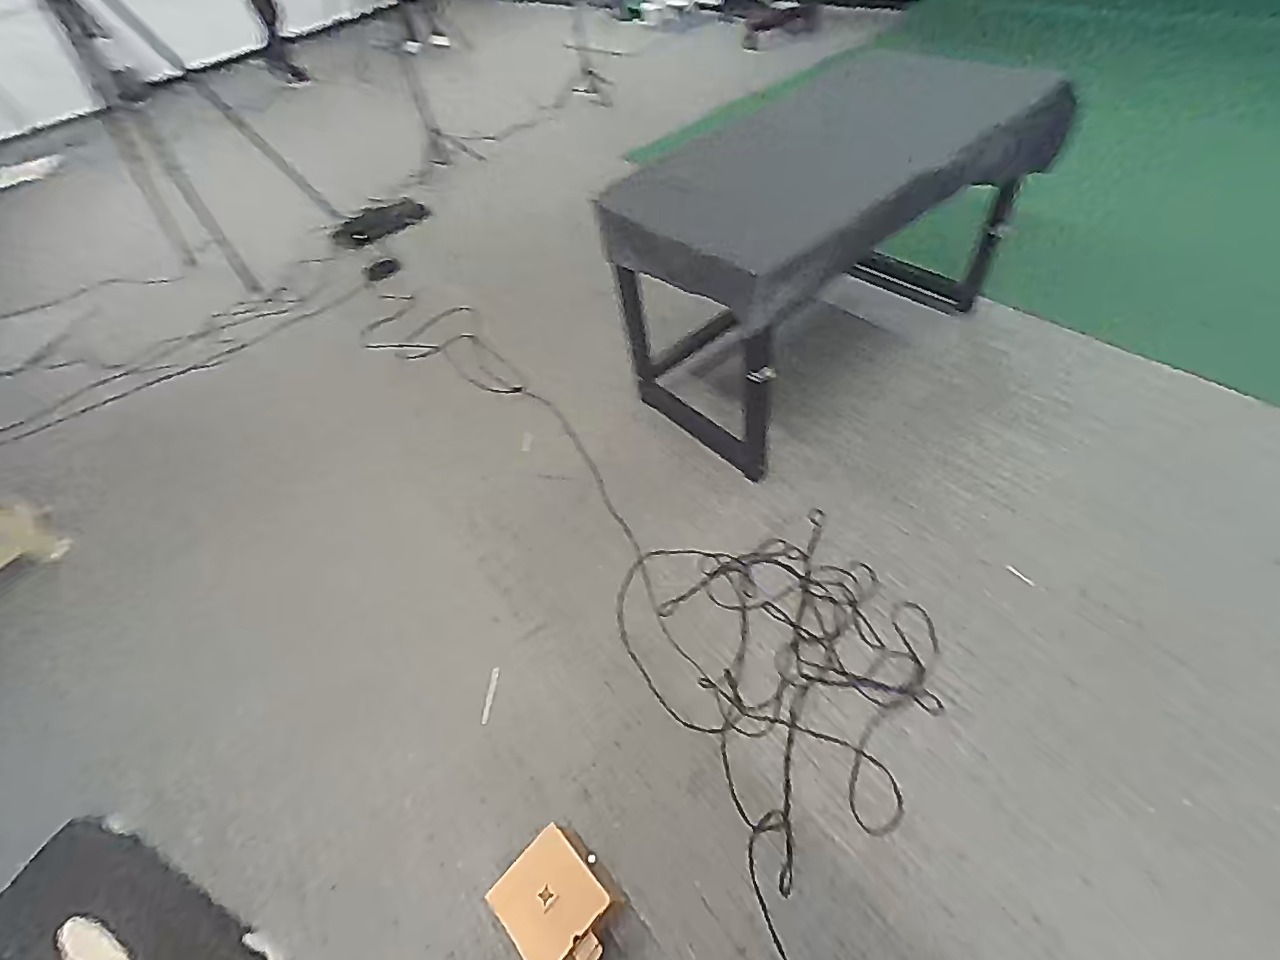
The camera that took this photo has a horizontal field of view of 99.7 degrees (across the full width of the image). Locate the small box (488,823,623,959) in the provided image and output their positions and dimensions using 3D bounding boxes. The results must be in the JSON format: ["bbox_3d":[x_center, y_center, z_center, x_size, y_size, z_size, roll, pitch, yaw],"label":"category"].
[{"bbox_3d":[-0.154,0.803,1.031,0.179,0.176,0.168,35,64,30],"label":"small box"}]
